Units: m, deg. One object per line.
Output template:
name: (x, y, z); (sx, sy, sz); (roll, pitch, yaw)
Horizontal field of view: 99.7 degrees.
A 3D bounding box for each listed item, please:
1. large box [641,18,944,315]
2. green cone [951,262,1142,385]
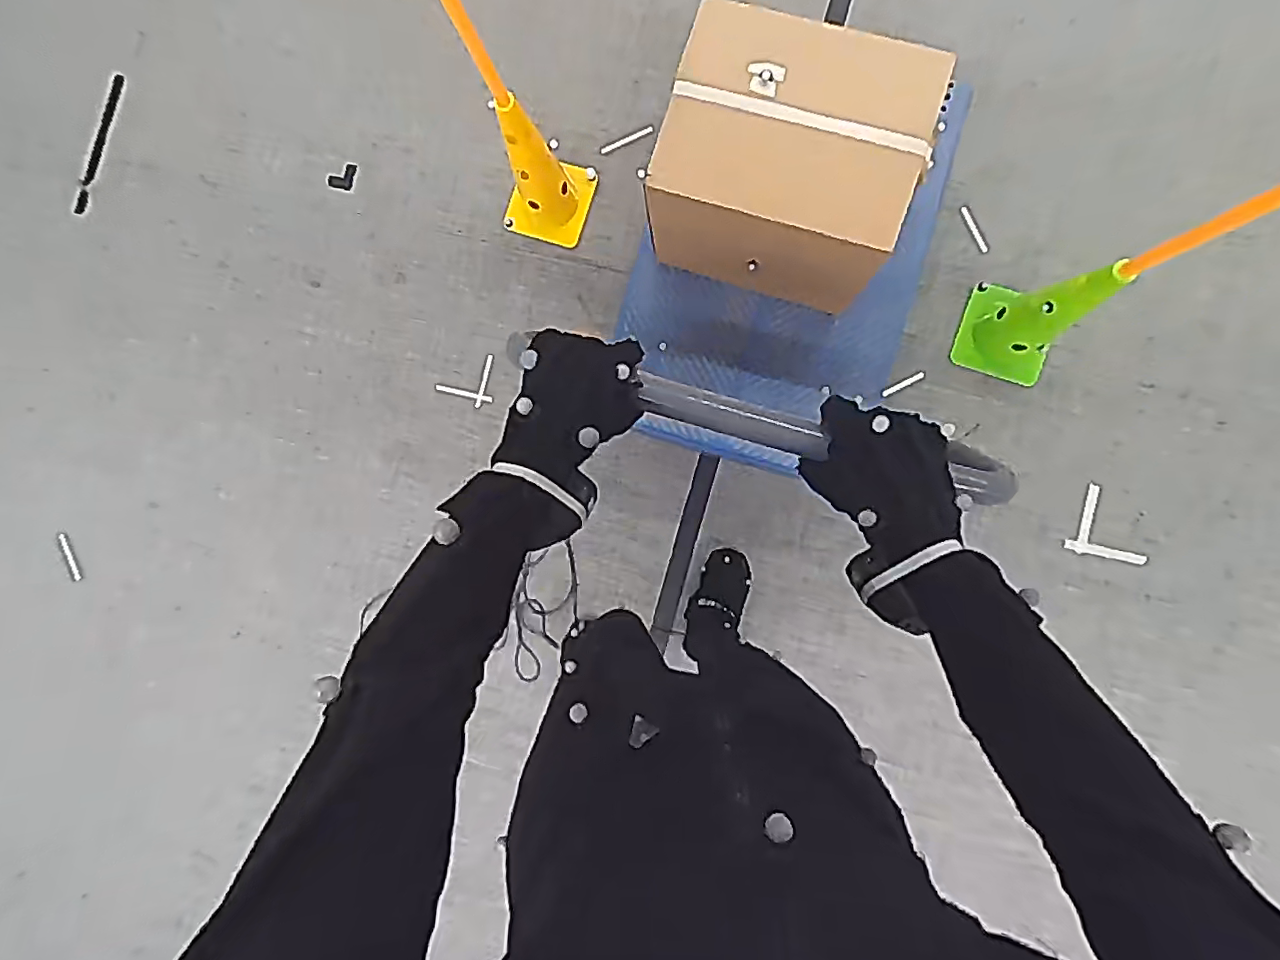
large box: (0.253, -0.541, 0.998); (0.408, 0.320, 0.320); (18, 91, 7)
green cone: (0.826, -0.339, 1.078); (0.202, 0.368, 0.200); (19, 91, 5)
